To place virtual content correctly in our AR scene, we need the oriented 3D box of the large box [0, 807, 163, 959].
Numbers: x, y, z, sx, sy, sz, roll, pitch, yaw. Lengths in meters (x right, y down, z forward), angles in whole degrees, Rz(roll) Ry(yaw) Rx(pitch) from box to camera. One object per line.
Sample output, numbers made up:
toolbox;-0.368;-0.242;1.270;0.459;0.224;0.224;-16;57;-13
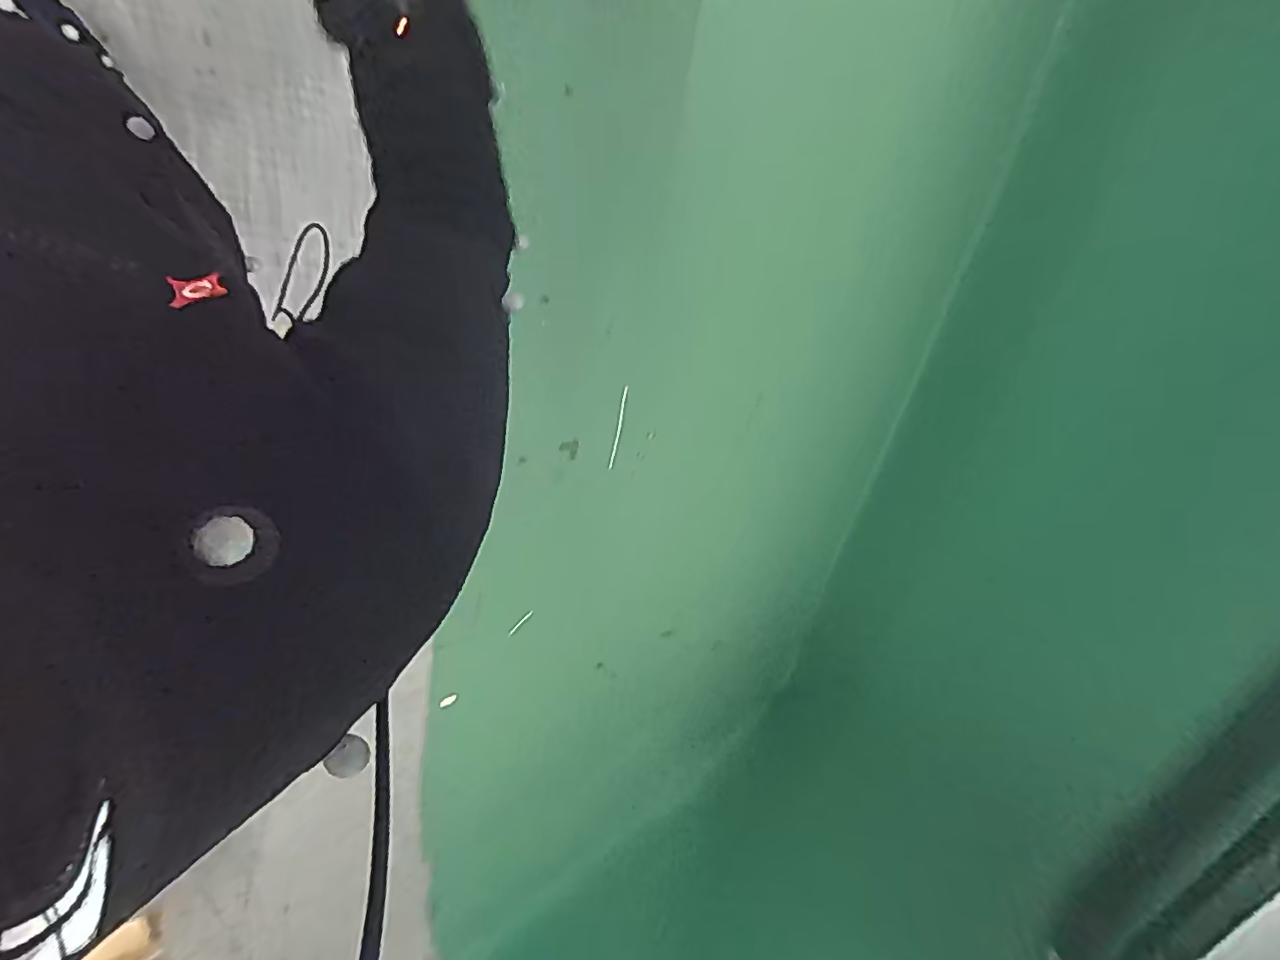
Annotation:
large box;-1.379;1.056;1.222;0.408;0.320;0.320;-12;123;-40
